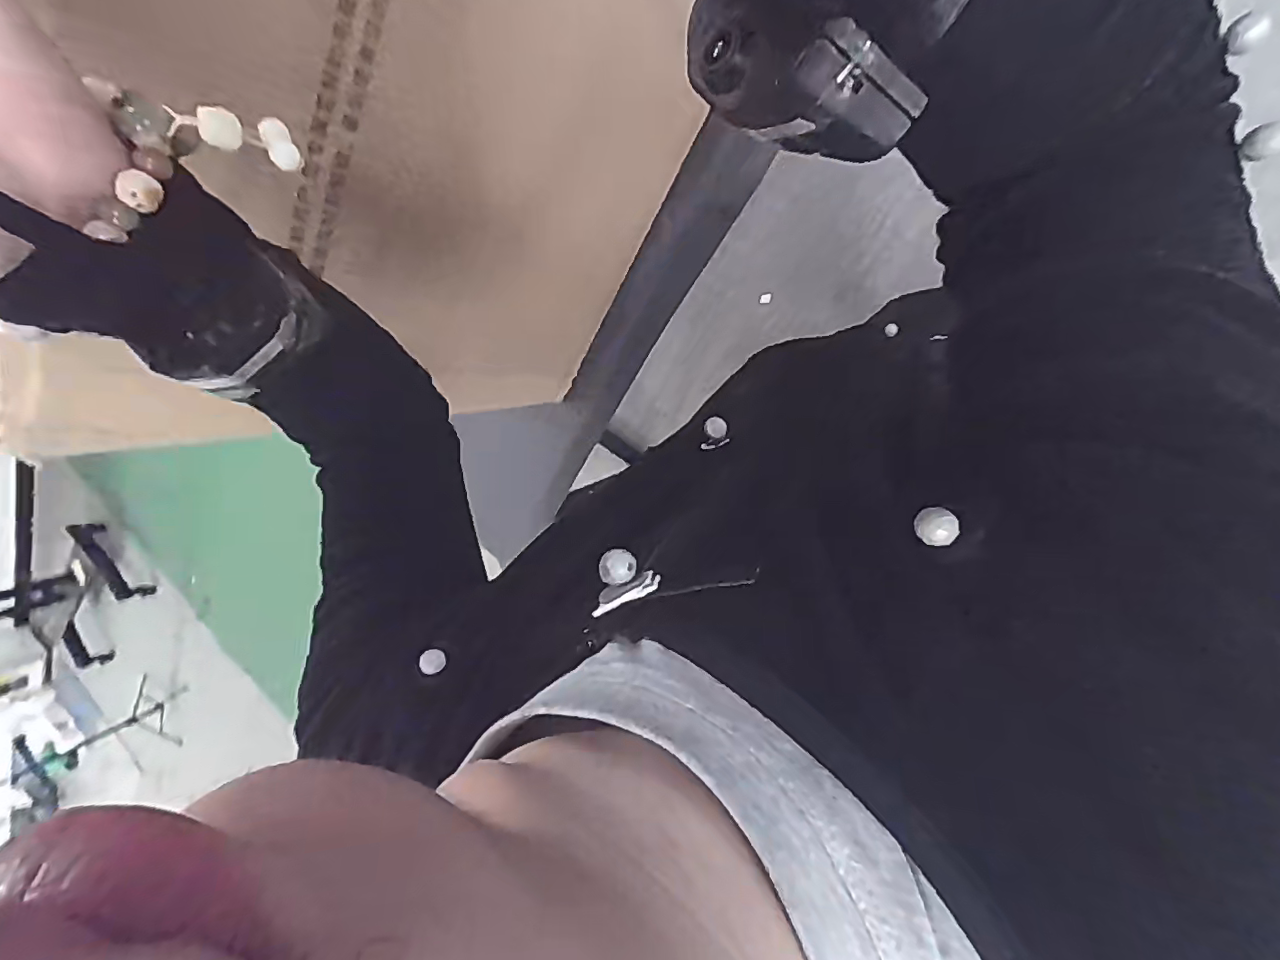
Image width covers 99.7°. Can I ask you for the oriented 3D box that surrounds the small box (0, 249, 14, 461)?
[{"bbox_3d":[-0.483,-0.097,0.278,0.179,0.176,0.168,33,116,15],"label":"small box"}]
